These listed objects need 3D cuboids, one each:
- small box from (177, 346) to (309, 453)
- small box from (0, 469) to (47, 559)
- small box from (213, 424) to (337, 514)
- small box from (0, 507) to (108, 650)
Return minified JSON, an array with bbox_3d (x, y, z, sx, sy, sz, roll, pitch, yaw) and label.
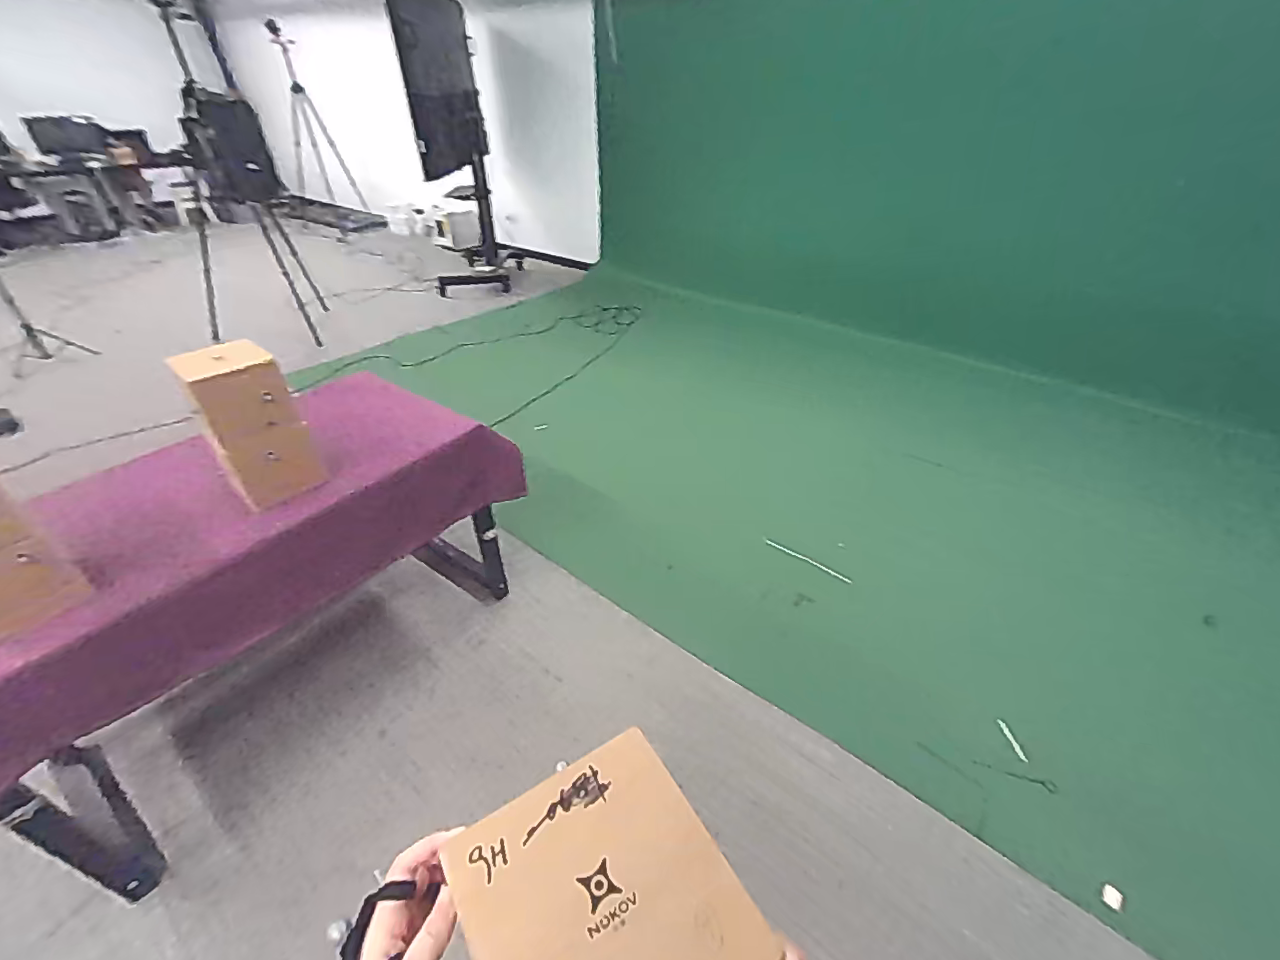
[{"bbox_3d":[-0.891,-0.180,1.225,0.179,0.176,0.168,27,44,34],"label":"small box"},{"bbox_3d":[-1.172,0.051,0.914,0.179,0.176,0.168,22,41,30],"label":"small box"},{"bbox_3d":[-0.881,-0.045,1.316,0.168,0.176,0.179,28,45,33],"label":"small box"},{"bbox_3d":[-1.166,0.185,1.009,0.168,0.176,0.179,24,42,30],"label":"small box"}]
